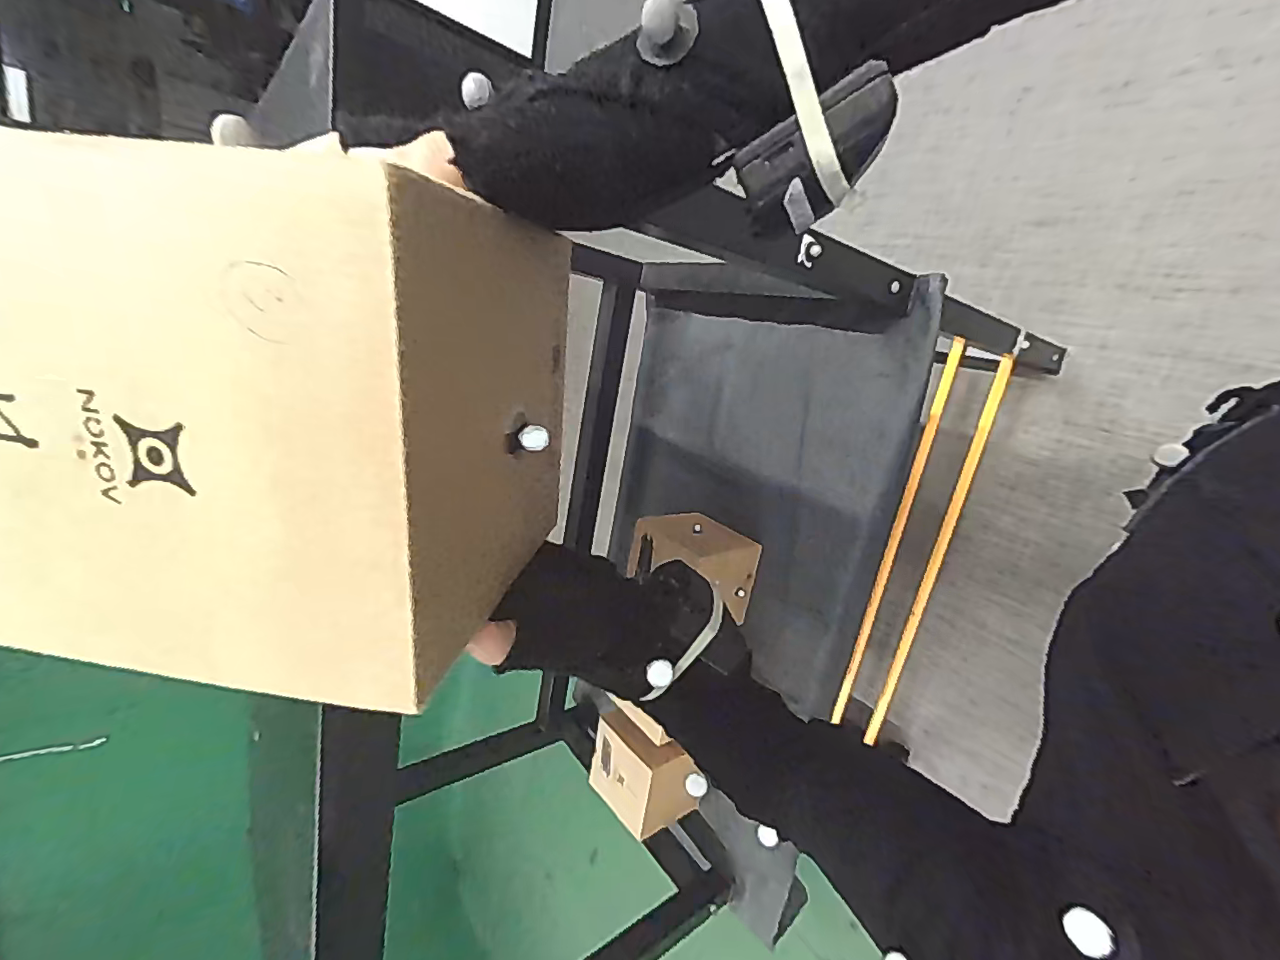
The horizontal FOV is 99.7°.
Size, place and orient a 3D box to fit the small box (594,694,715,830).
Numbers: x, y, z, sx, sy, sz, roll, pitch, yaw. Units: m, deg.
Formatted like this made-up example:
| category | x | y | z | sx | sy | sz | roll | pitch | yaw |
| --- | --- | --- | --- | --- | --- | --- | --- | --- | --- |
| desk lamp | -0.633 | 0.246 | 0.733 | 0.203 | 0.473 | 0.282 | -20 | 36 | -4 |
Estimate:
| category | x | y | z | sx | sy | sz | roll | pitch | yaw |
| --- | --- | --- | --- | --- | --- | --- | --- | --- | --- |
| small box | 0.028 | 0.575 | 1.137 | 0.179 | 0.176 | 0.168 | 24 | 110 | 48 |

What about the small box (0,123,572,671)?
| category | x | y | z | sx | sy | sz | roll | pitch | yaw |
| --- | --- | --- | --- | --- | --- | --- | --- | --- | --- |
| small box | -0.137 | -0.044 | 0.251 | 0.179 | 0.176 | 0.168 | 8 | 109 | 7 |
